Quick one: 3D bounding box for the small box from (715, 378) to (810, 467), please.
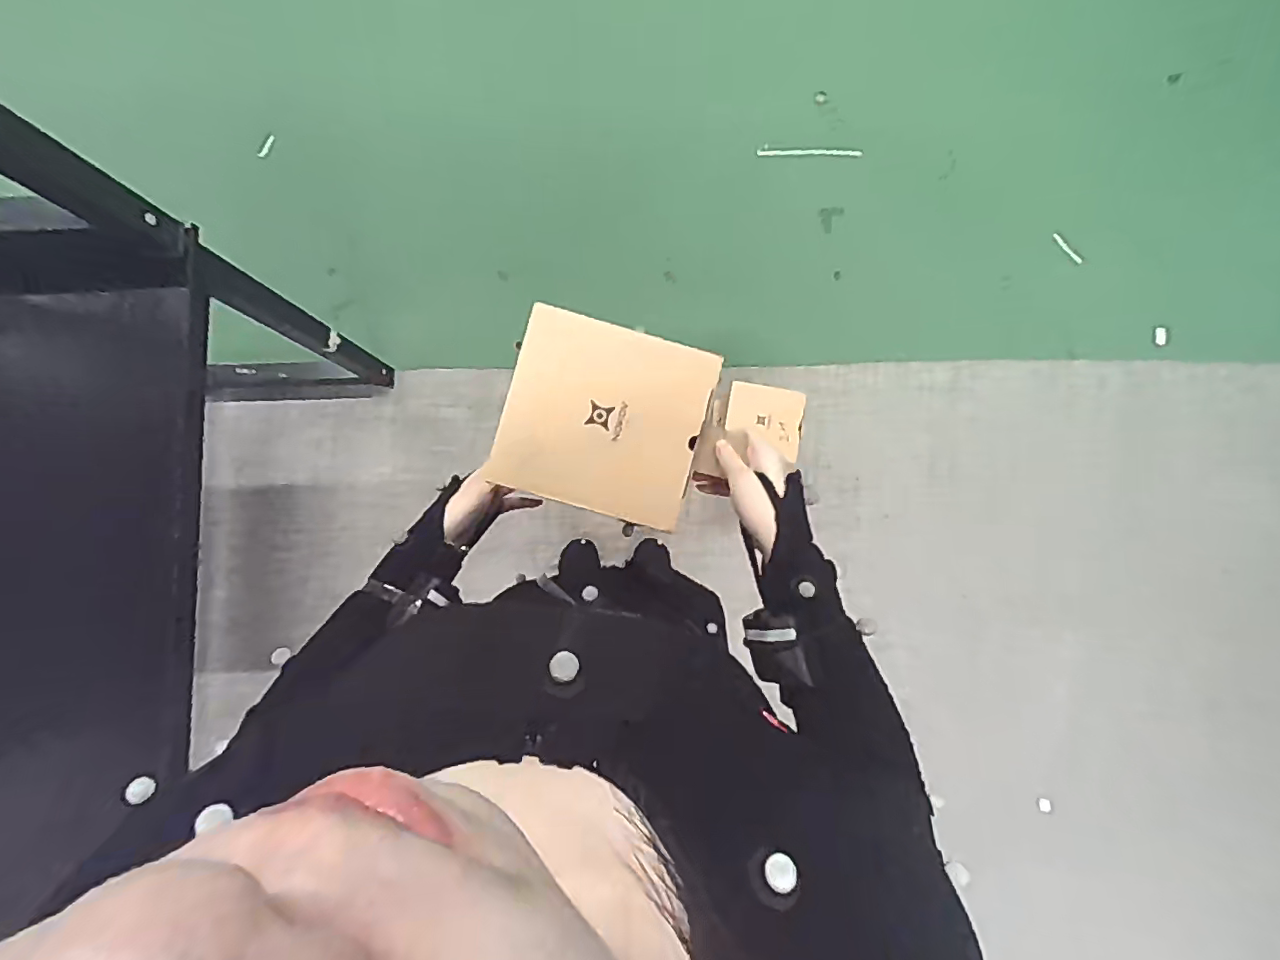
[{"bbox_3d":[0.283,-0.129,1.285,0.179,0.176,0.168,10,86,0],"label":"small box"}]

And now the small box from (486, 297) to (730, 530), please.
[{"bbox_3d":[-0.031,-0.053,0.538,0.179,0.176,0.168,15,87,-3],"label":"small box"}]
